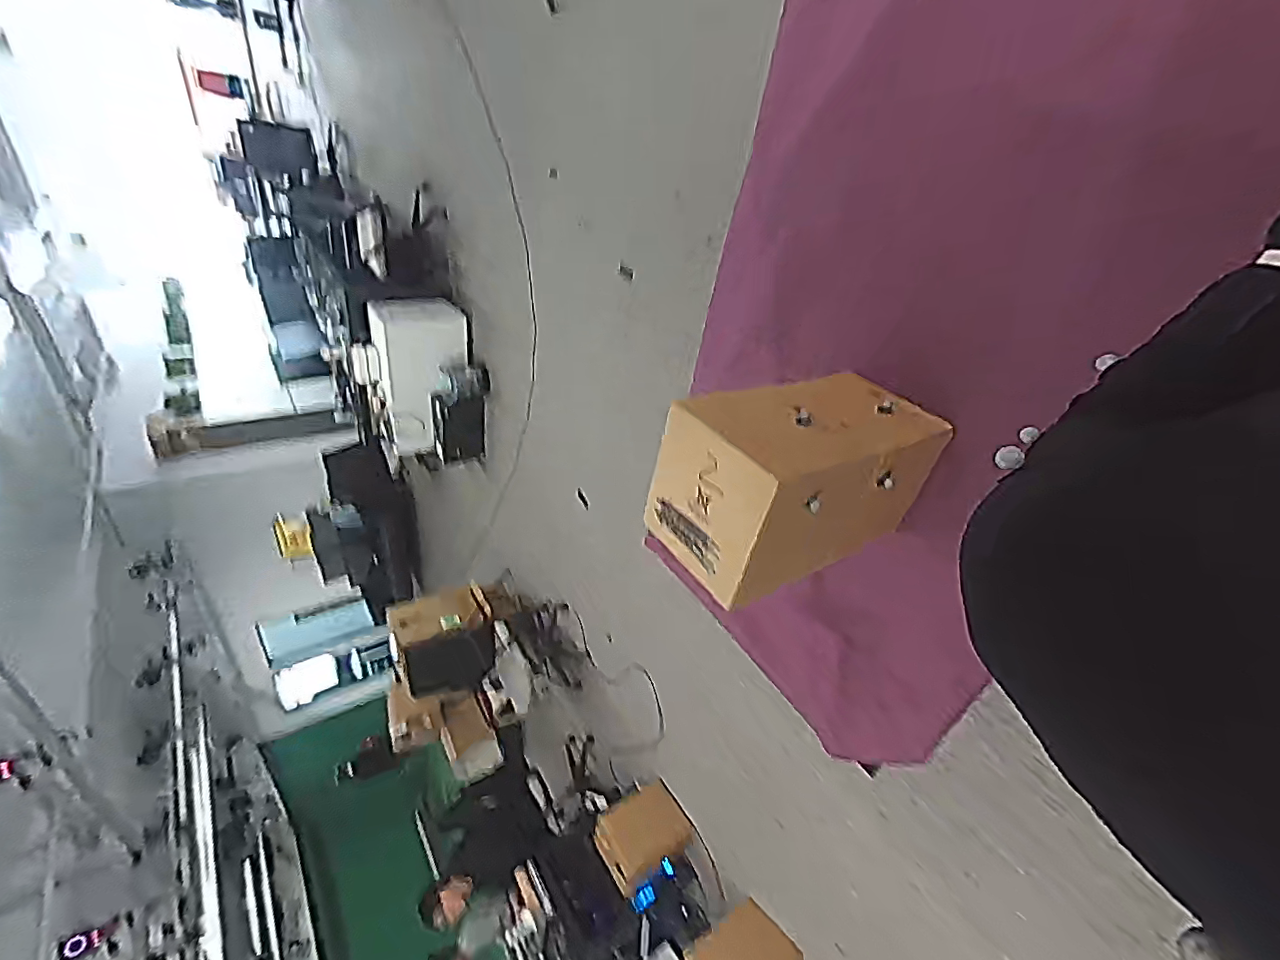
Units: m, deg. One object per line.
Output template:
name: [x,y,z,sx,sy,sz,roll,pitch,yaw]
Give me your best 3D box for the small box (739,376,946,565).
small box: [0.265,-0.022,0.719,0.168,0.176,0.179,44,135,38]
